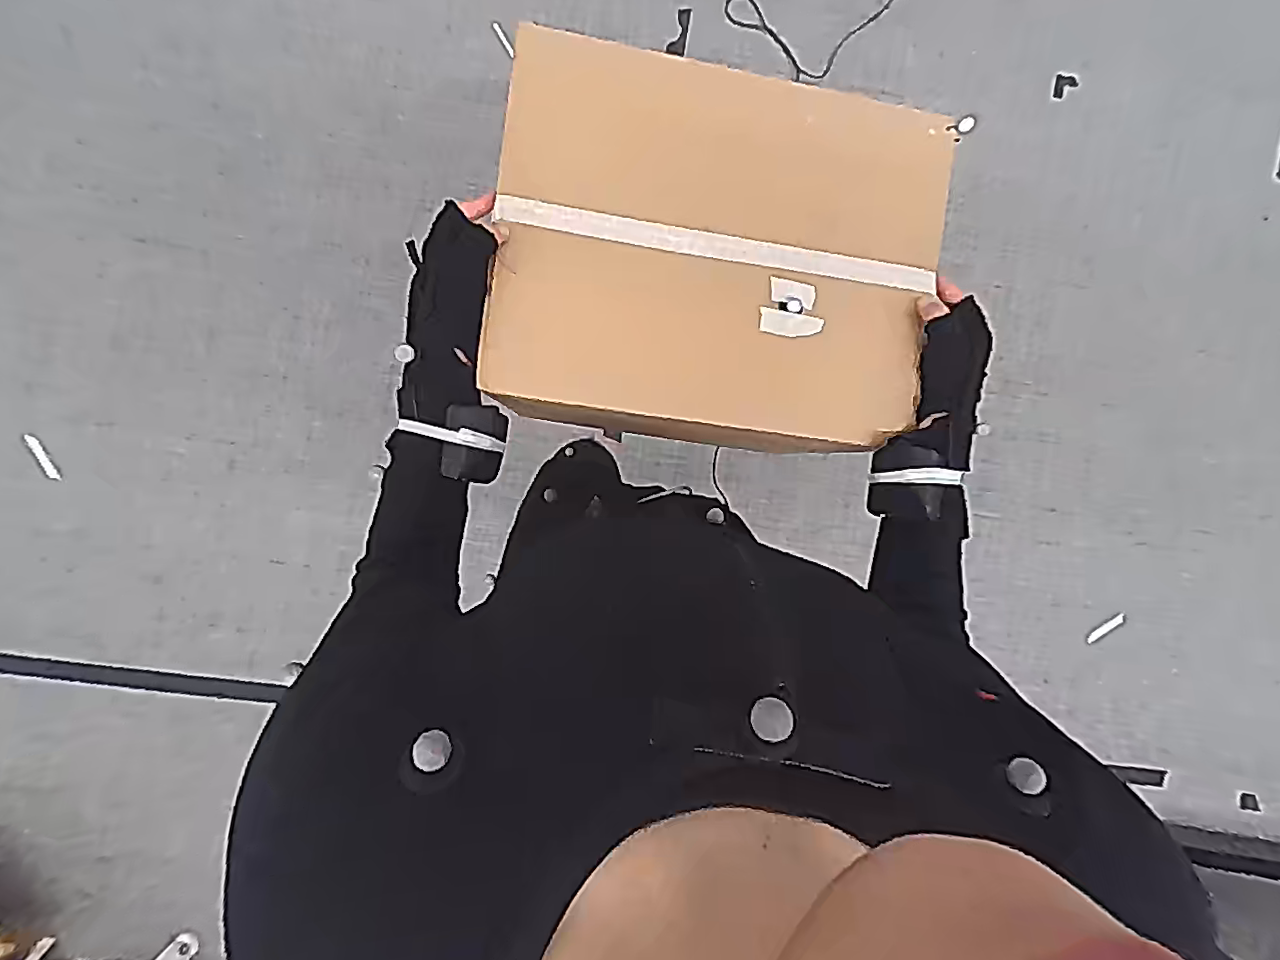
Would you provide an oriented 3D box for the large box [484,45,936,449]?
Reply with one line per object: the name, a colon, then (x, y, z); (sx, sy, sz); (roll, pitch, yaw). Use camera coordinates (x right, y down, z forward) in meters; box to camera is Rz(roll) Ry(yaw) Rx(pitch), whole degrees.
large box: (0.053, -0.213, 0.645); (0.408, 0.320, 0.320); (7, 93, -8)
